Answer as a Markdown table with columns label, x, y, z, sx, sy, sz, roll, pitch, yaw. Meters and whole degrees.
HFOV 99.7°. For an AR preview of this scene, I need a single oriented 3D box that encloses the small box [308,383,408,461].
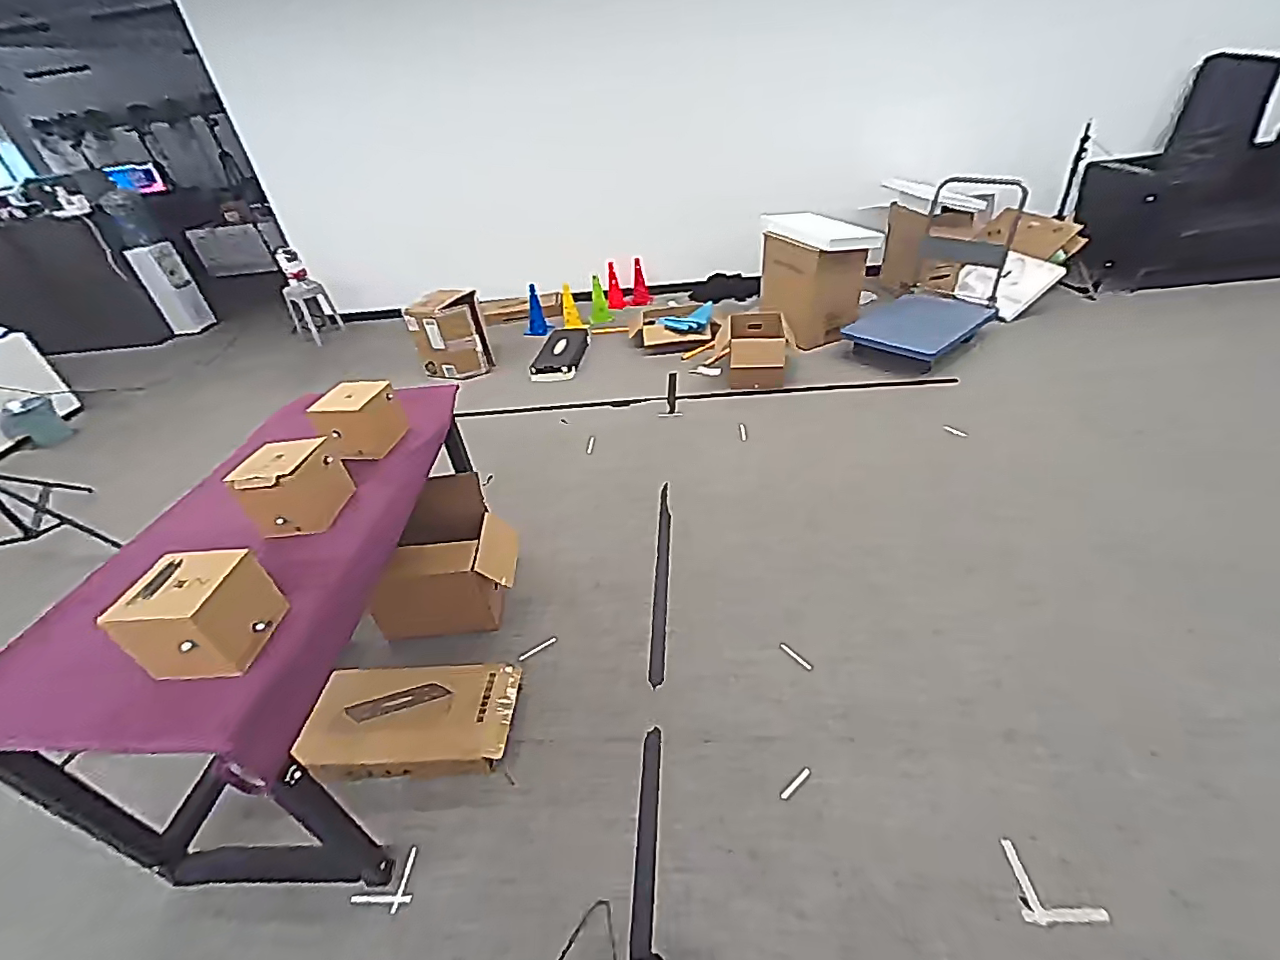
| label | x | y | z | sx | sy | sz | roll | pitch | yaw |
| --- | --- | --- | --- | --- | --- | --- | --- | --- | --- |
| small box | -0.814 | -0.166 | 1.584 | 0.168 | 0.176 | 0.179 | 0 | 36 | 10 |

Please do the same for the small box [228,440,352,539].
| label | x | y | z | sx | sy | sz | roll | pitch | yaw |
| --- | --- | --- | --- | --- | --- | --- | --- | --- | --- |
| small box | -0.844 | 0.024 | 1.330 | 0.168 | 0.176 | 0.179 | -7 | 36 | 6 |
